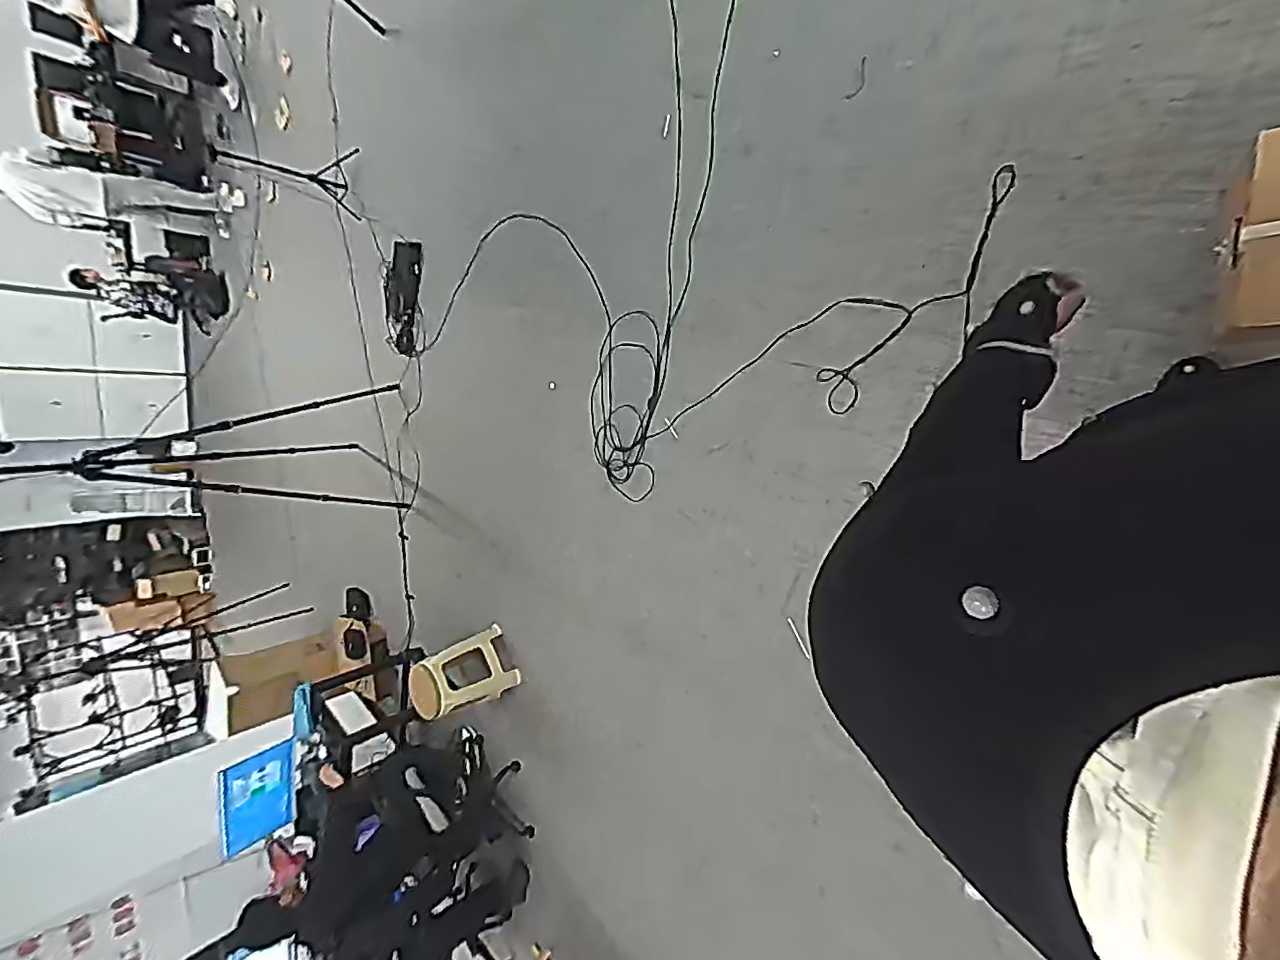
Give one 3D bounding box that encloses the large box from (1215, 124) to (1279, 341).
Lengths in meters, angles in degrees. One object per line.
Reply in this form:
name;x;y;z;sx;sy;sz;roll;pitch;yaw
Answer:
large box;1.249;-0.418;0.874;0.408;0.320;0.320;5;99;40
